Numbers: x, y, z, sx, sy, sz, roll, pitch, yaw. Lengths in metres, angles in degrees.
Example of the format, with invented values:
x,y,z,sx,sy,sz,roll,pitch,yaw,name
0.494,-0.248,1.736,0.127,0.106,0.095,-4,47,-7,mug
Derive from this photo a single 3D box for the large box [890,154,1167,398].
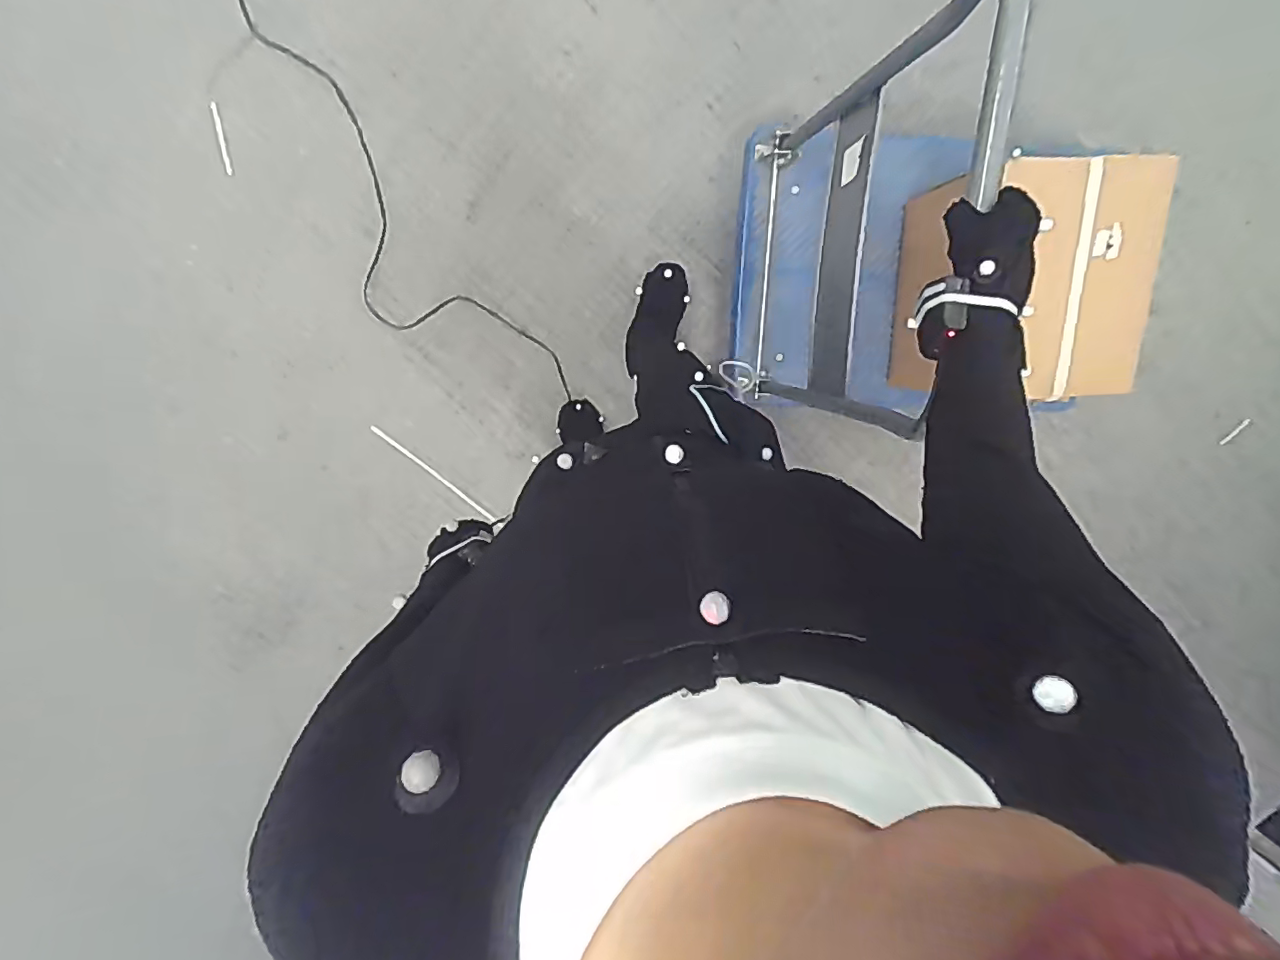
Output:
x,y,z,sx,sy,sz,roll,pitch,yaw,name
0.741,-0.387,1.098,0.320,0.320,0.408,-3,105,-5,large box
